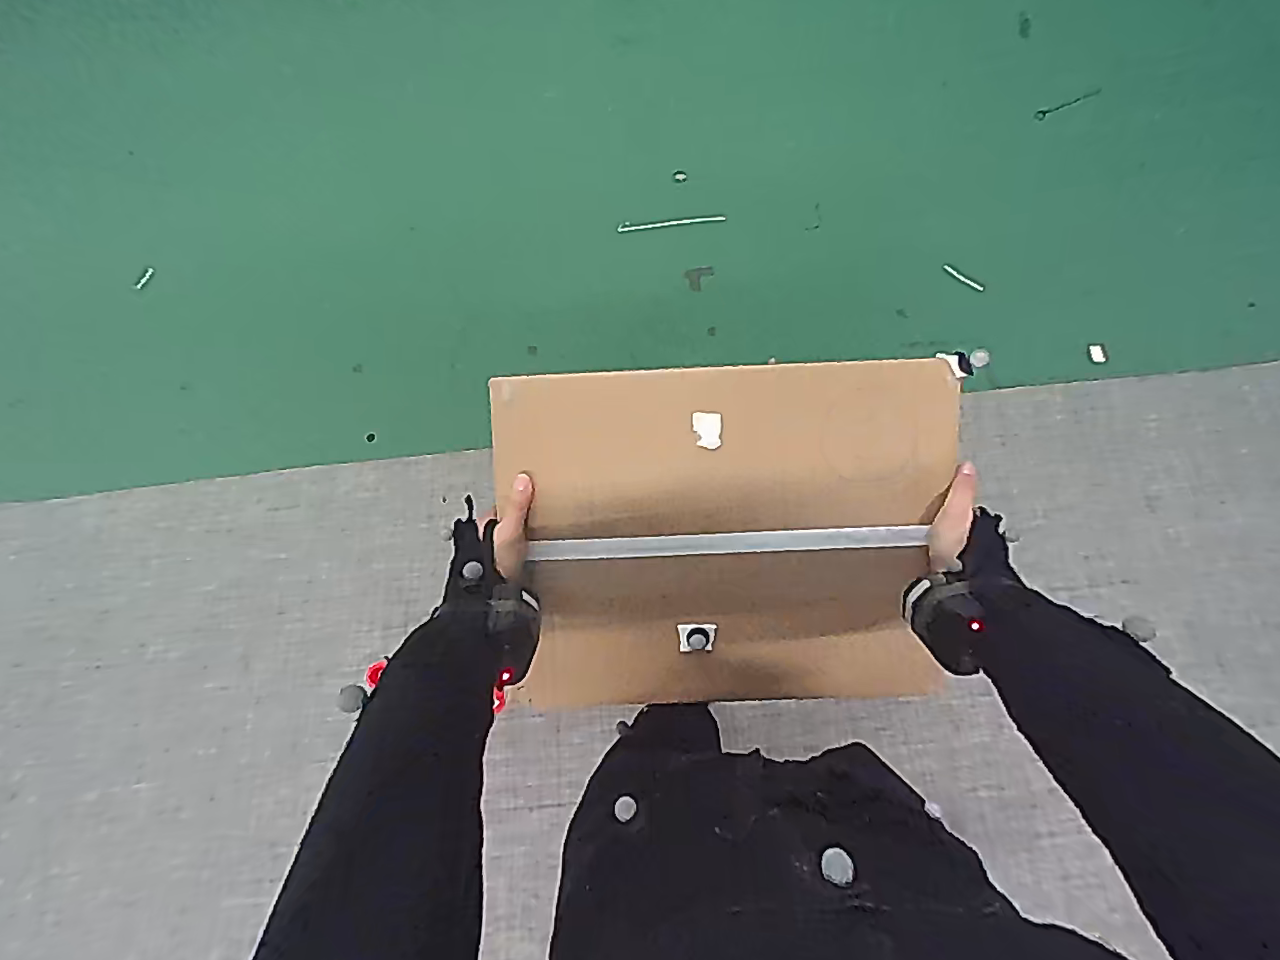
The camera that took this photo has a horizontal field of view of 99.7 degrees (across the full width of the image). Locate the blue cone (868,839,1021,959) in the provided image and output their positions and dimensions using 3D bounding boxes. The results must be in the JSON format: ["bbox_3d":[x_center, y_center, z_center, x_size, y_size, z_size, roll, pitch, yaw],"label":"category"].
[{"bbox_3d":[0.521,0.737,0.857,0.192,0.380,0.193,-6,71,2],"label":"blue cone"}]

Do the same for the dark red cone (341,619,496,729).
[{"bbox_3d":[-0.431,0.359,1.031,0.202,0.394,0.201,-13,67,0],"label":"dark red cone"}]
